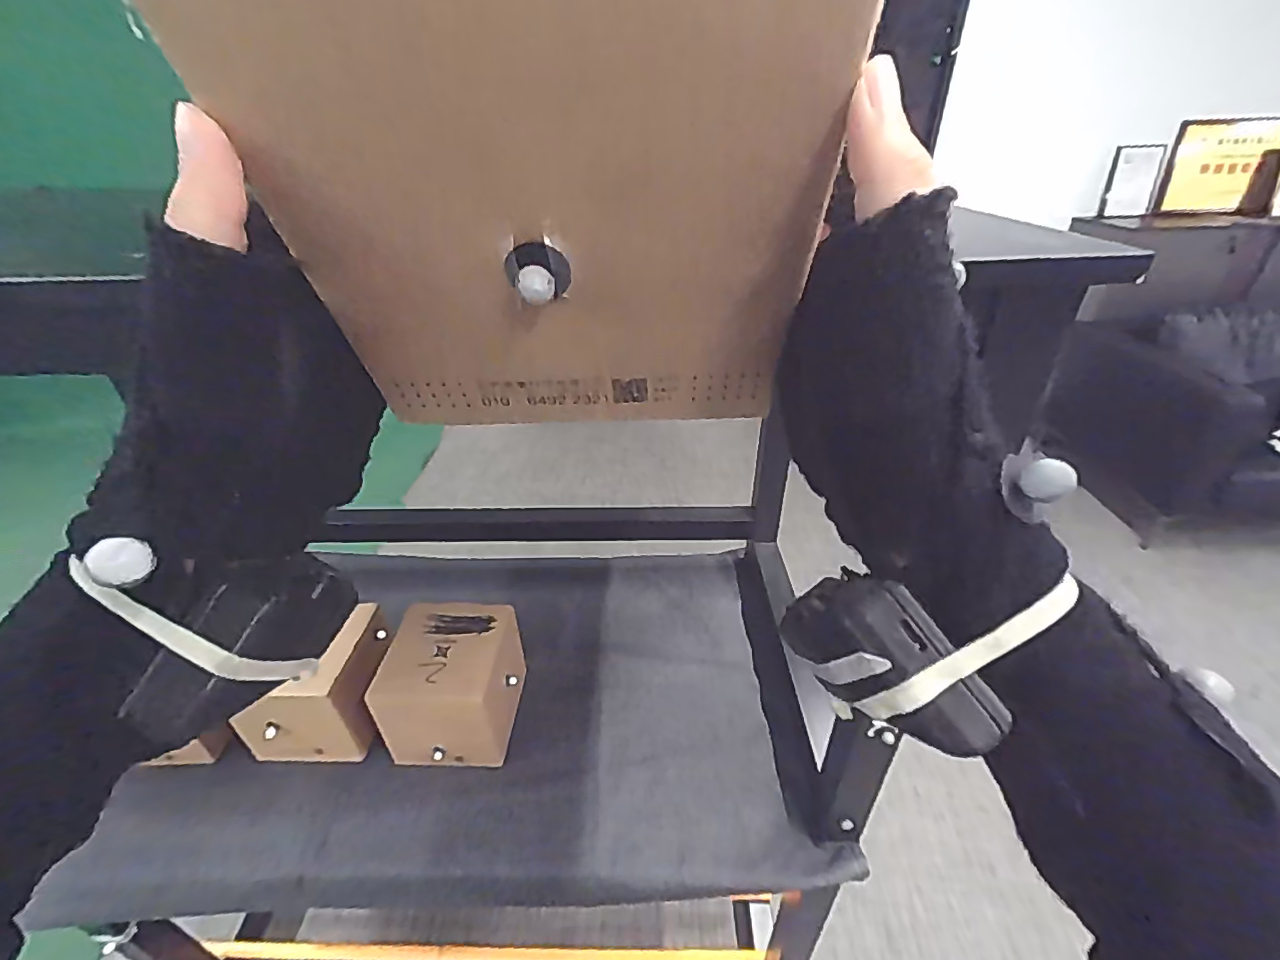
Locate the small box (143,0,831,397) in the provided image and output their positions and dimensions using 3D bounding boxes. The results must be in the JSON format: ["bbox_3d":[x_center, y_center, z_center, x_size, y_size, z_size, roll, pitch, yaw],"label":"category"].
[{"bbox_3d":[-0.031,-0.147,0.220,0.168,0.176,0.179,-1,57,0],"label":"small box"}]

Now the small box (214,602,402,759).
[{"bbox_3d":[-0.499,0.314,0.849,0.168,0.176,0.179,0,32,1],"label":"small box"}]

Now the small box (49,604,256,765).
[{"bbox_3d":[-0.726,0.316,0.848,0.168,0.176,0.179,-2,33,0],"label":"small box"}]
